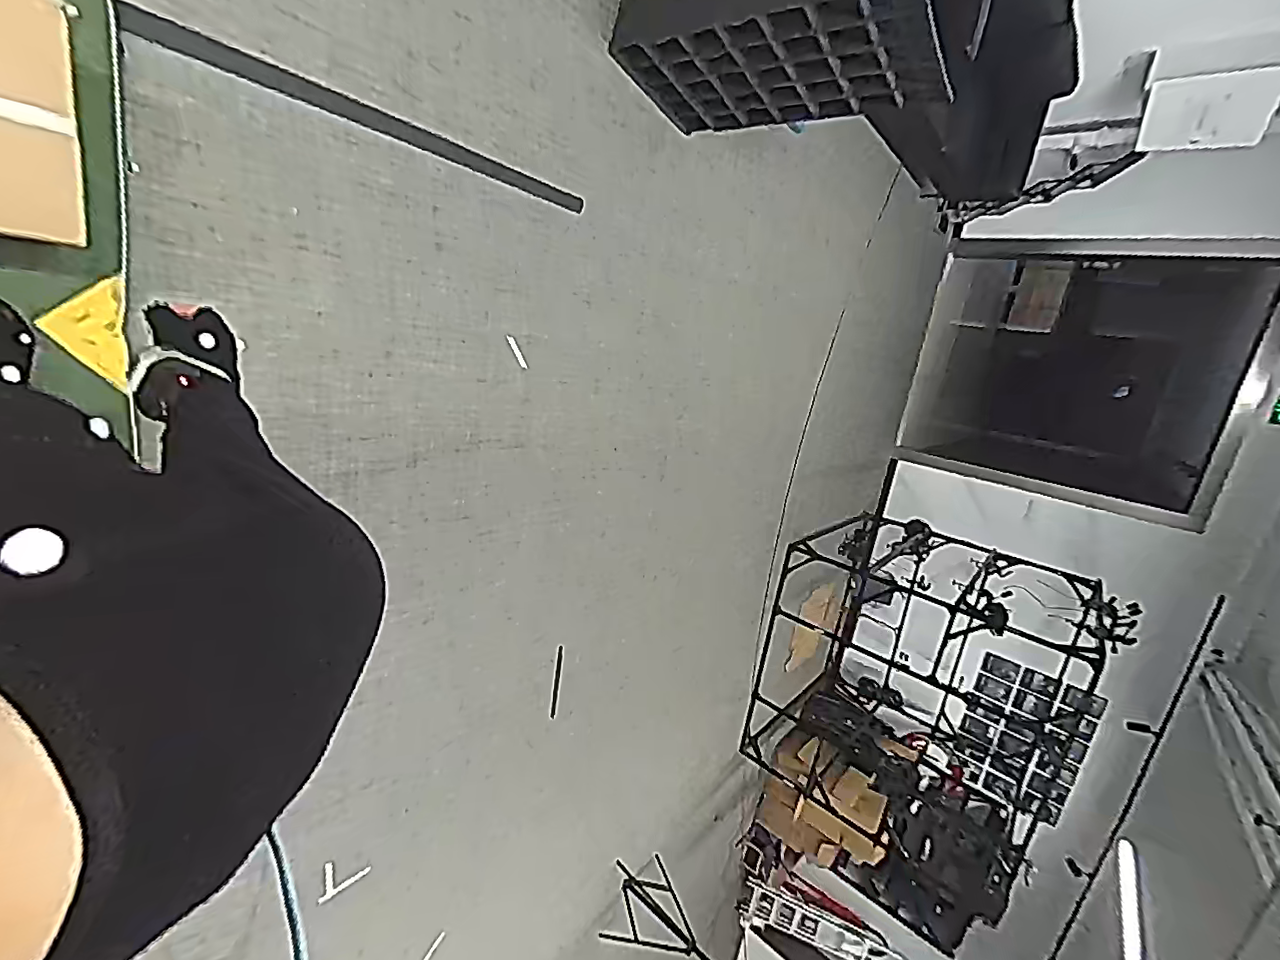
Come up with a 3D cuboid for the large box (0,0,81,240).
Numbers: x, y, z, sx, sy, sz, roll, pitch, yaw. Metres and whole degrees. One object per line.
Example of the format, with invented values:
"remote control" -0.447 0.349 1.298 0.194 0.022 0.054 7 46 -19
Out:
"large box" -1.050 -0.516 0.698 0.408 0.320 0.320 -10 113 -51
